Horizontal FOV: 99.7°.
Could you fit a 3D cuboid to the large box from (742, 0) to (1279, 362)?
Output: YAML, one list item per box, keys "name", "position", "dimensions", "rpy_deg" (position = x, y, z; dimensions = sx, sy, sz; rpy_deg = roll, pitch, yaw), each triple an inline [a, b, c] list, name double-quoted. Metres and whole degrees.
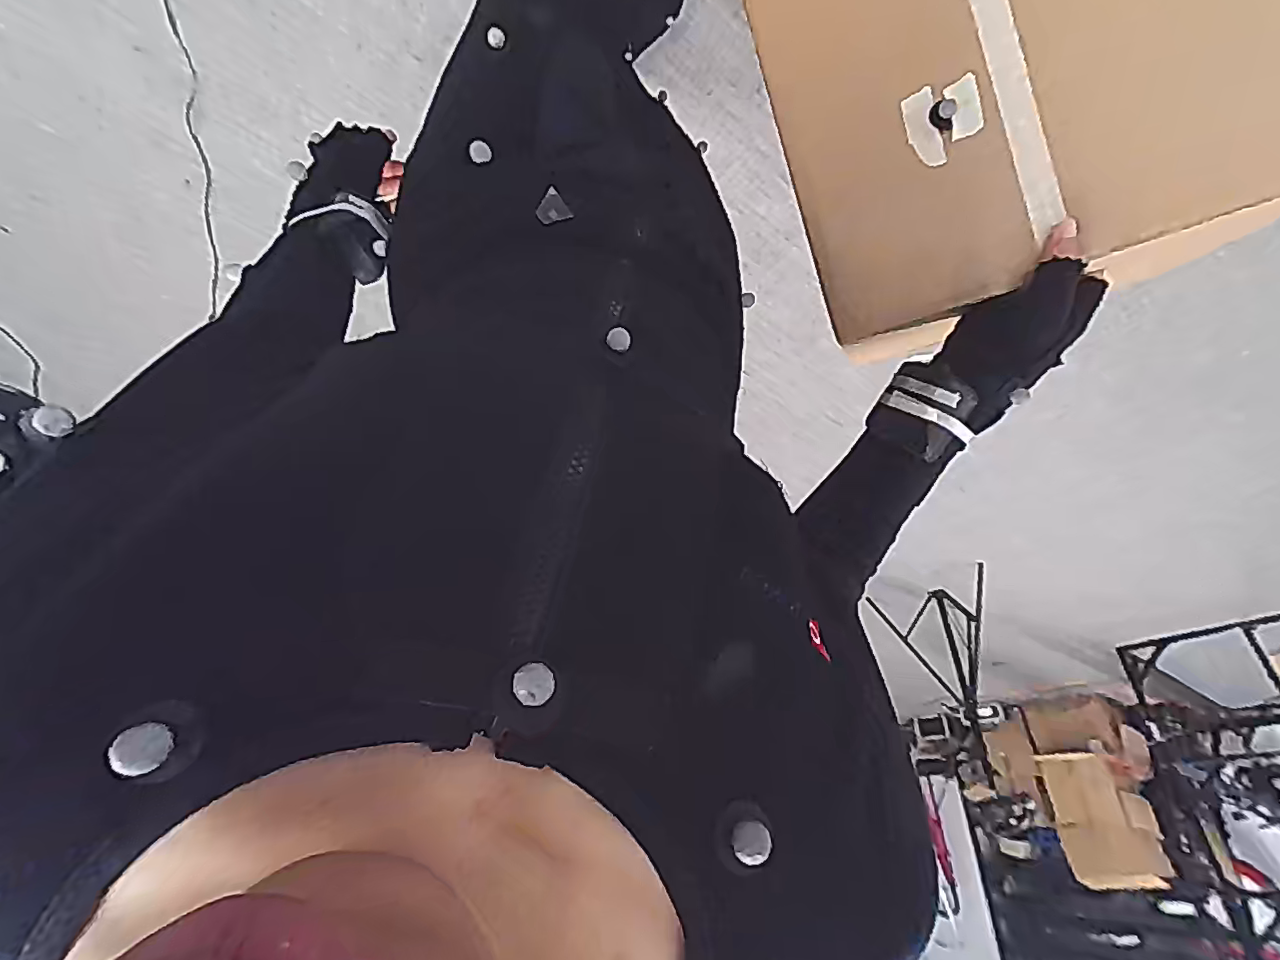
- name: "large box"
  position: [0.314, -0.363, 0.533]
  dimensions: [0.320, 0.408, 0.320]
  rpy_deg: [-15, -178, 26]
